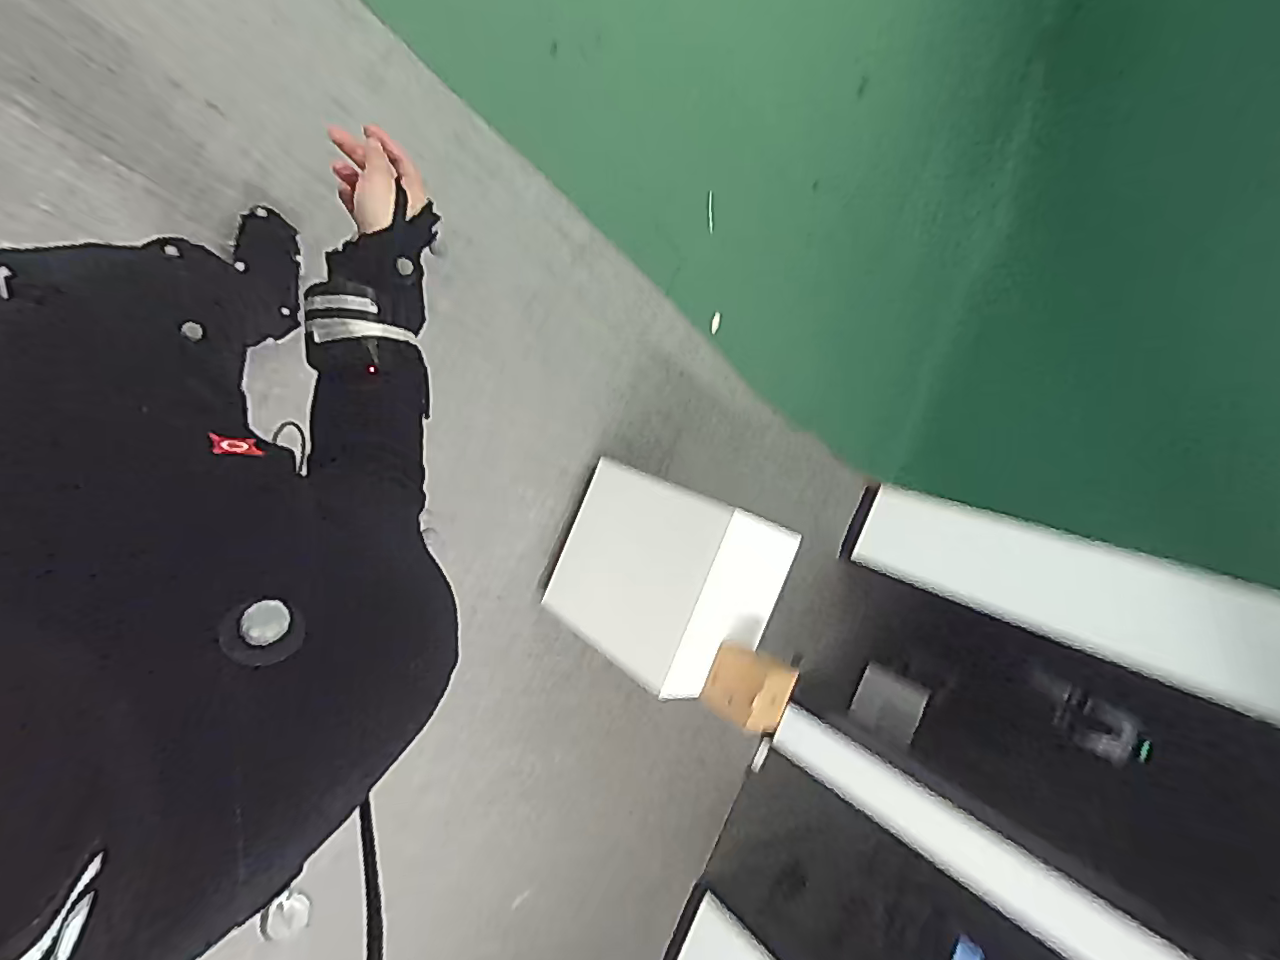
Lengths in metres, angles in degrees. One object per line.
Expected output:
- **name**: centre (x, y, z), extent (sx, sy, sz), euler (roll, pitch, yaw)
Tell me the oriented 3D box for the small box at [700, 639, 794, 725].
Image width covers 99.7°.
- **small box**: centre (0.296, 0.559, 1.513), extent (0.179, 0.176, 0.168), euler (23, 90, -47)
